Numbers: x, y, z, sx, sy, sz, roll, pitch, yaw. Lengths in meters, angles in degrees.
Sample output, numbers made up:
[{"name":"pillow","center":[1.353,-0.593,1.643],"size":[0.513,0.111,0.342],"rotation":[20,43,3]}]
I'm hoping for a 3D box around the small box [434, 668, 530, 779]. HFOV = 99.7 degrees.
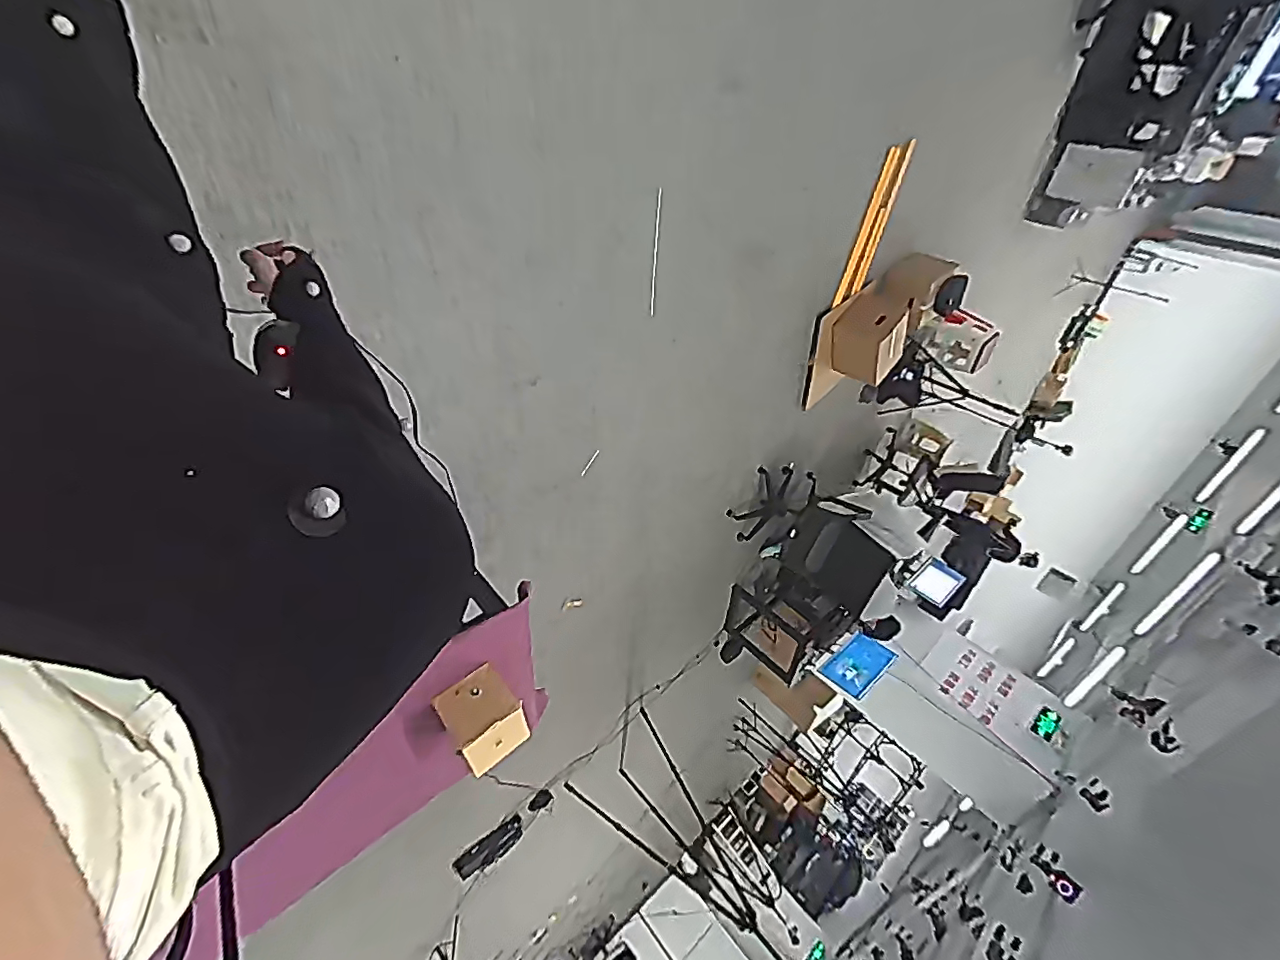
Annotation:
[{"name":"small box","center":[-0.411,0.631,1.415],"size":[0.168,0.176,0.179],"rotation":[-31,139,-29]}]
